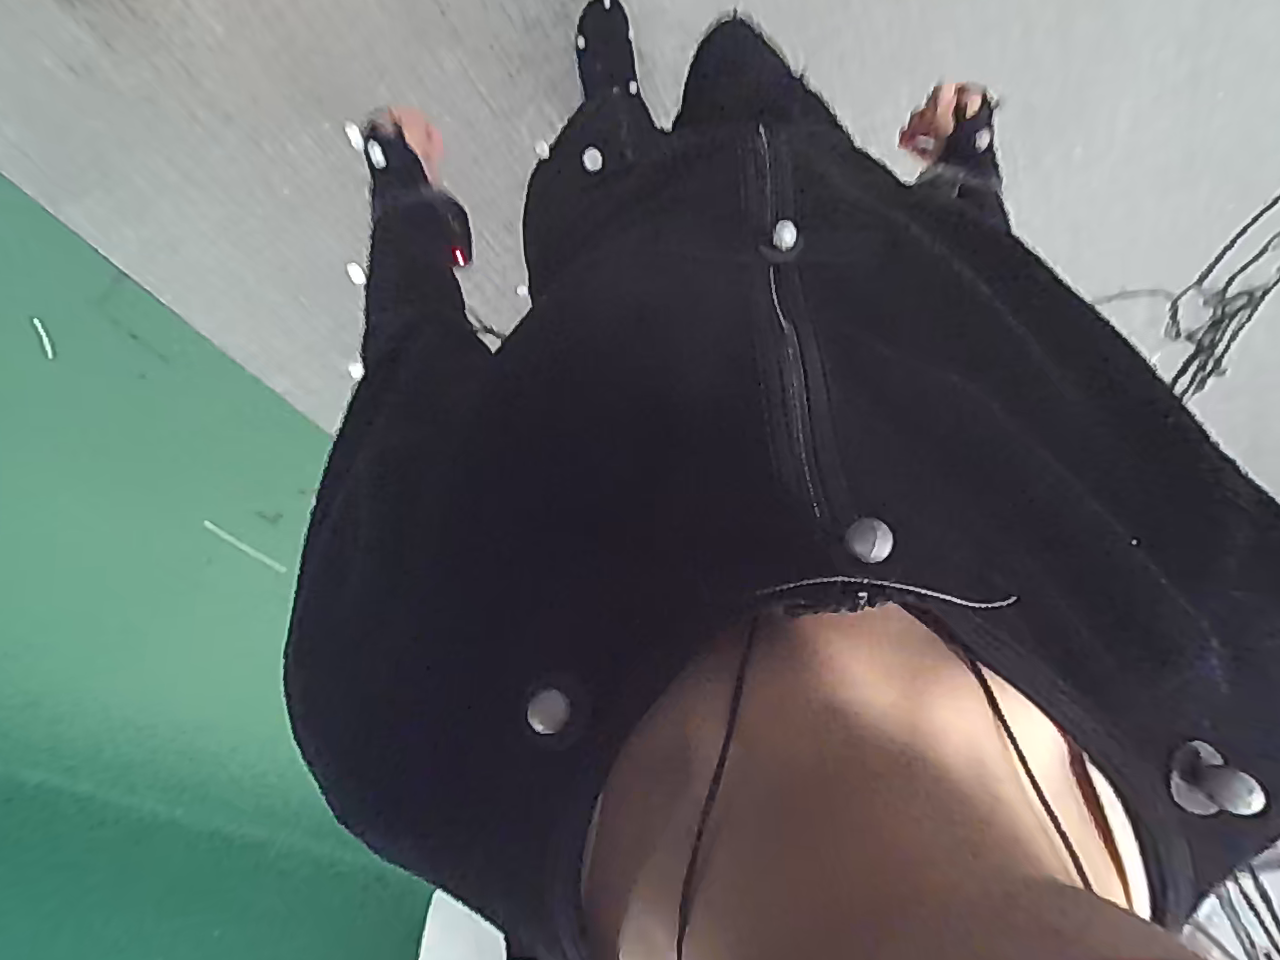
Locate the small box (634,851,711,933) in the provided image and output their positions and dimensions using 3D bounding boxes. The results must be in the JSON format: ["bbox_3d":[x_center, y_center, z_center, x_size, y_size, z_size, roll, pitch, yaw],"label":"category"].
[{"bbox_3d":[0.096,1.257,1.653,0.168,0.176,0.179,-28,128,17],"label":"small box"}]
